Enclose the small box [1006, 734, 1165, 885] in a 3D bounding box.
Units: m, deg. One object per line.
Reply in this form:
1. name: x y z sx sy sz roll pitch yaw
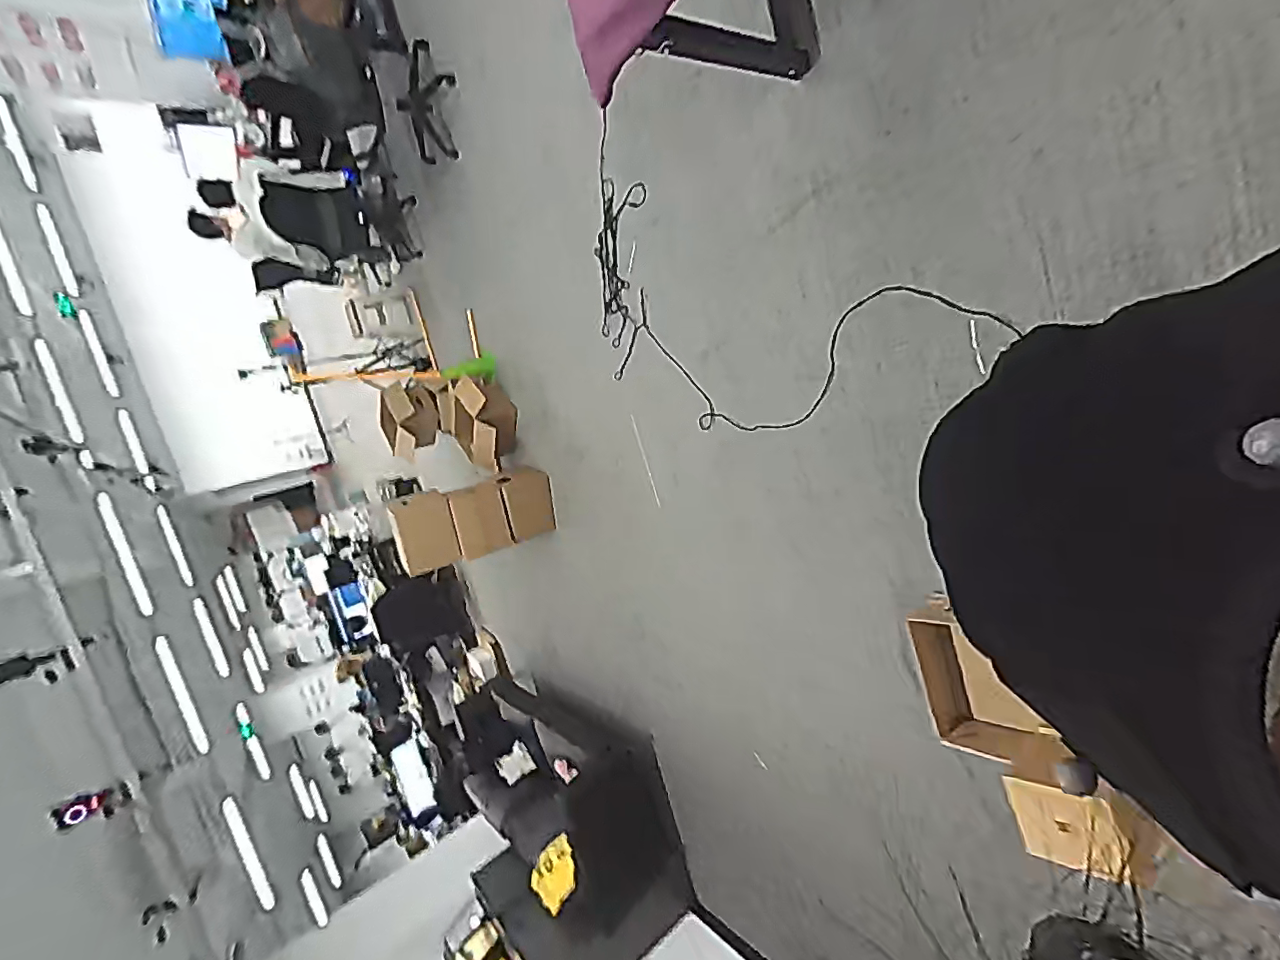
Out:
1. small box: 0.864 0.622 1.051 0.179 0.176 0.168 -21 87 56
